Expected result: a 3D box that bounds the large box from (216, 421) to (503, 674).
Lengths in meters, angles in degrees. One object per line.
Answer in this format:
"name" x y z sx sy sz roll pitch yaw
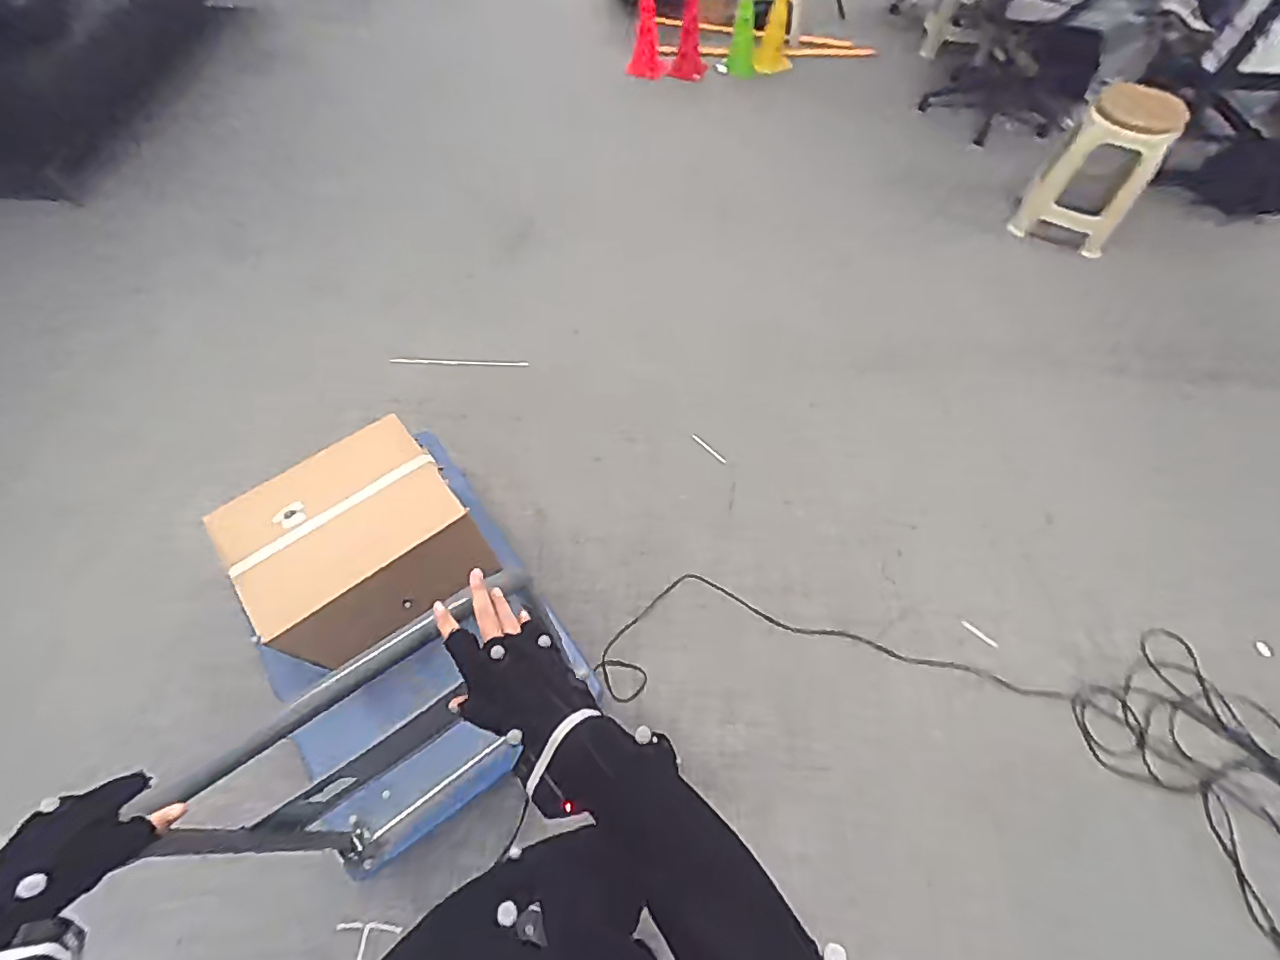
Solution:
"large box" -0.577 0.153 1.183 0.408 0.320 0.320 -35 65 -17
